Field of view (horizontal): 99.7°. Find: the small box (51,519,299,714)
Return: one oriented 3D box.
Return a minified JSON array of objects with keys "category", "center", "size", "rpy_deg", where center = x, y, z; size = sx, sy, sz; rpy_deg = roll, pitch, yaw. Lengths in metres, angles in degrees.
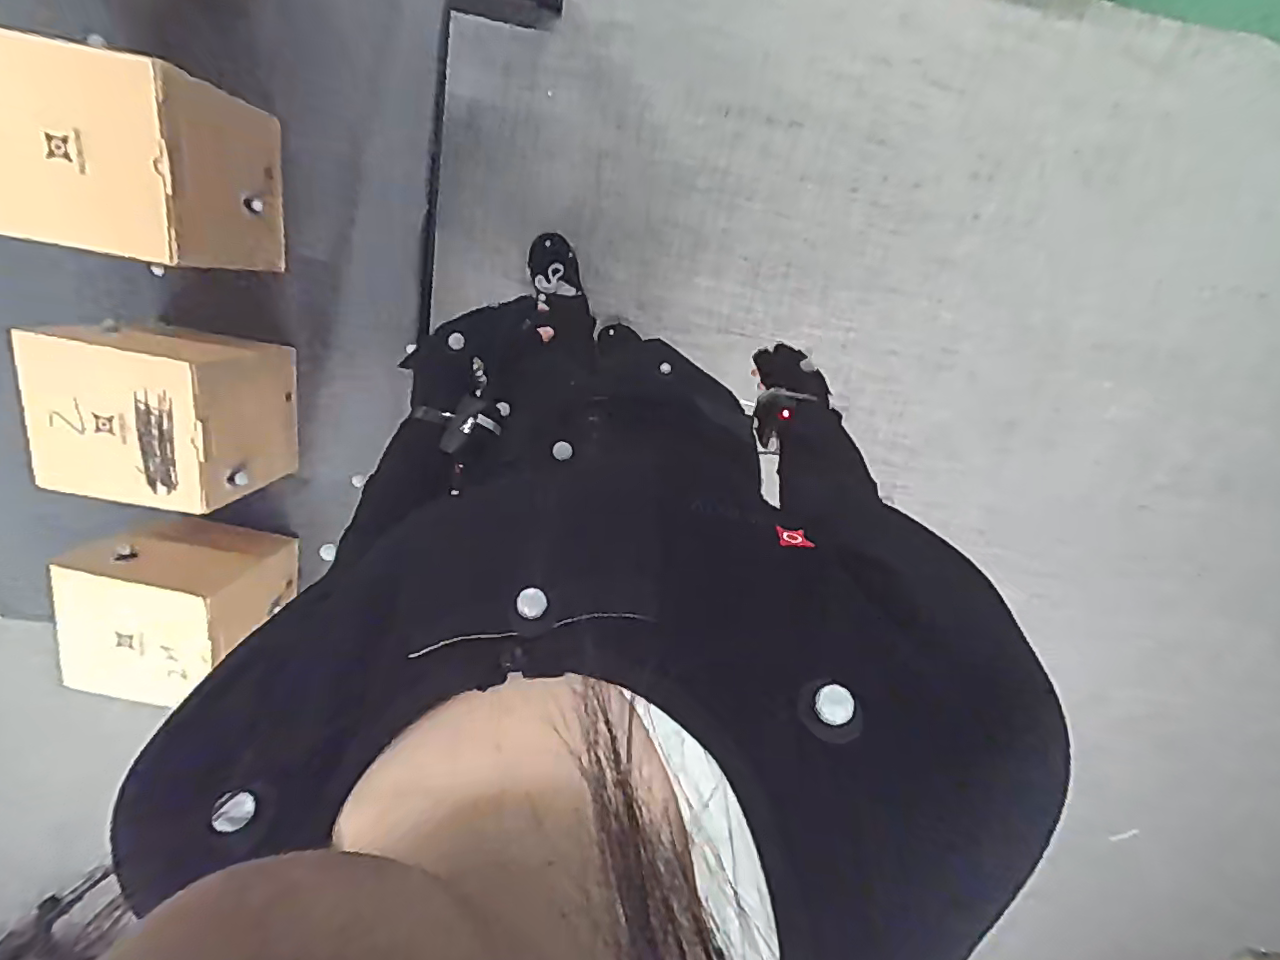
[{"category":"small box","center":[-0.583,0.164,0.700],"size":[0.179,0.176,0.168],"rpy_deg":[13,107,-3]}]

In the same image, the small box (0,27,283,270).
[{"category":"small box","center":[-0.503,-0.316,0.551],"size":[0.179,0.176,0.168],"rpy_deg":[9,108,-4]}]
